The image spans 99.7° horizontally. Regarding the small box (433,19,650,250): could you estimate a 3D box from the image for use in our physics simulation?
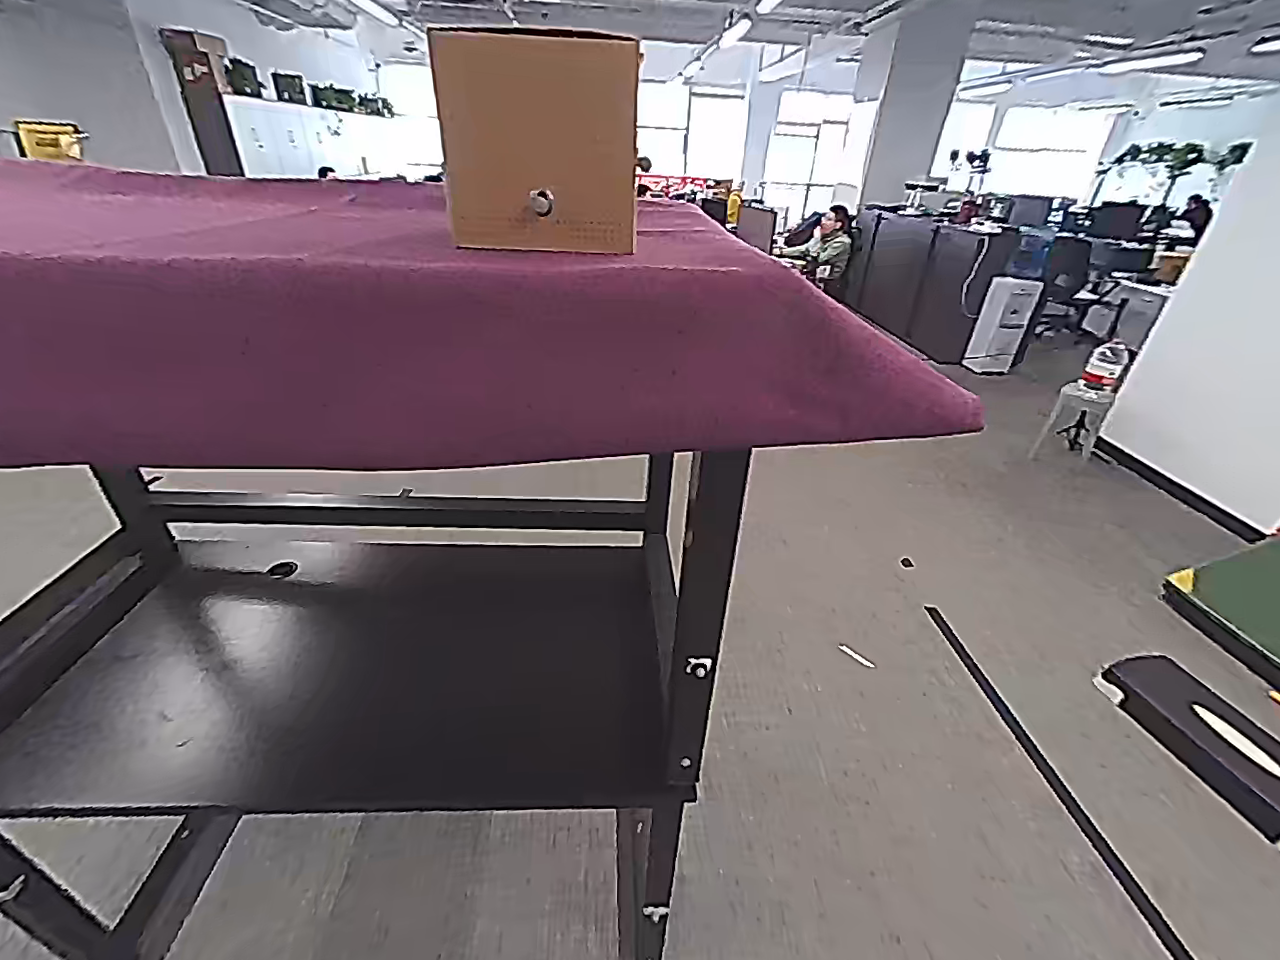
[{"bbox_3d":[-0.084,-0.331,0.542,0.179,0.176,0.168,2,30,-2],"label":"small box"}]
